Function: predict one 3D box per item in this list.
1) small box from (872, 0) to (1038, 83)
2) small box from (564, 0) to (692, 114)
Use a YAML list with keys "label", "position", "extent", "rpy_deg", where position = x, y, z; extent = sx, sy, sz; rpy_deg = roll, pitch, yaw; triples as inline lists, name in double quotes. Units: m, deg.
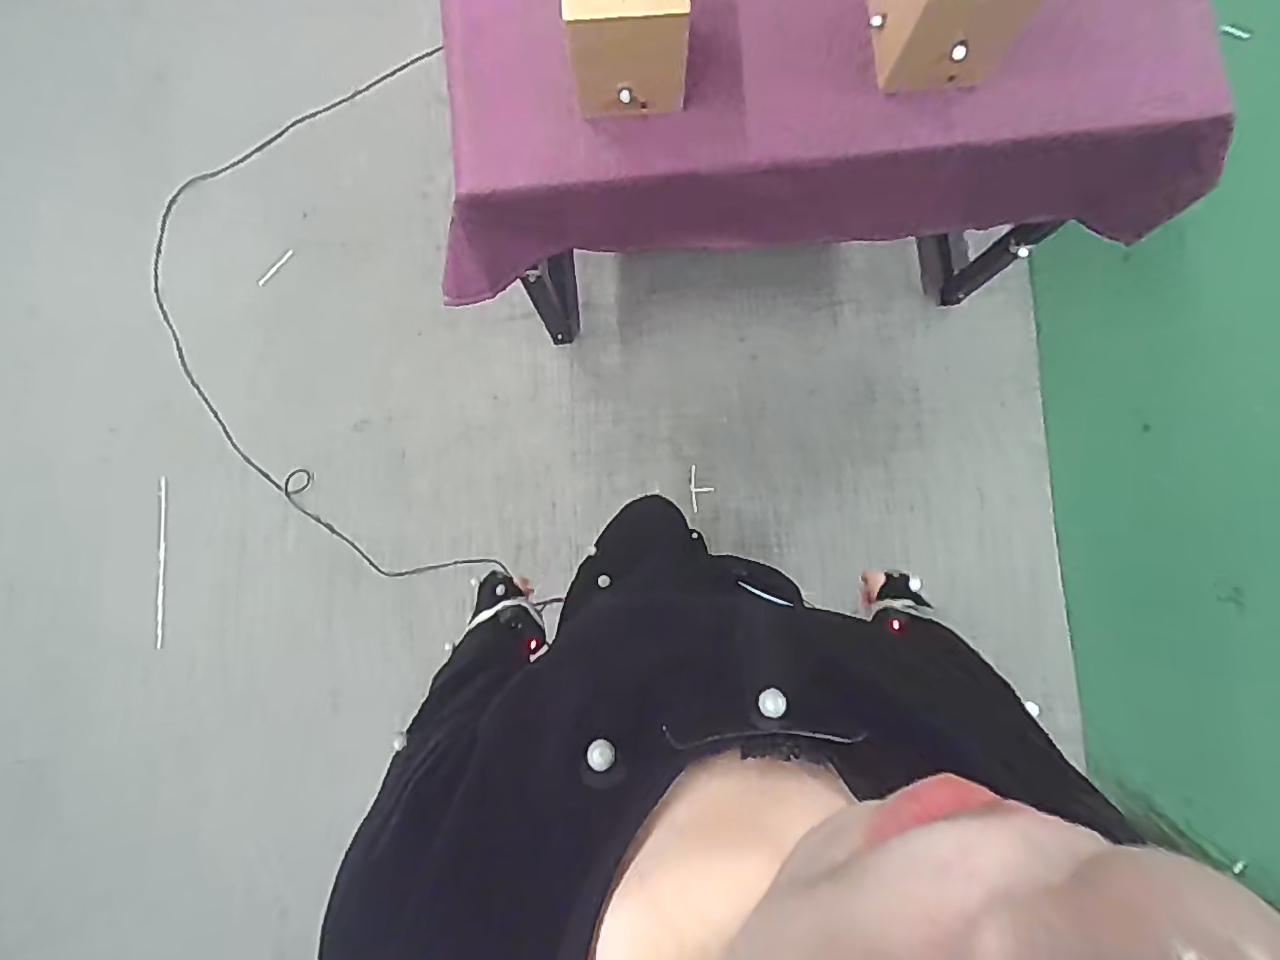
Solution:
- label: "small box"
  position: [0.448, -0.704, 0.768]
  extent: [0.168, 0.176, 0.179]
  rpy_deg: [-4, 85, 1]
- label: "small box"
  position: [-0.017, -0.668, 0.774]
  extent: [0.168, 0.176, 0.179]
  rpy_deg: [-3, 86, 1]
